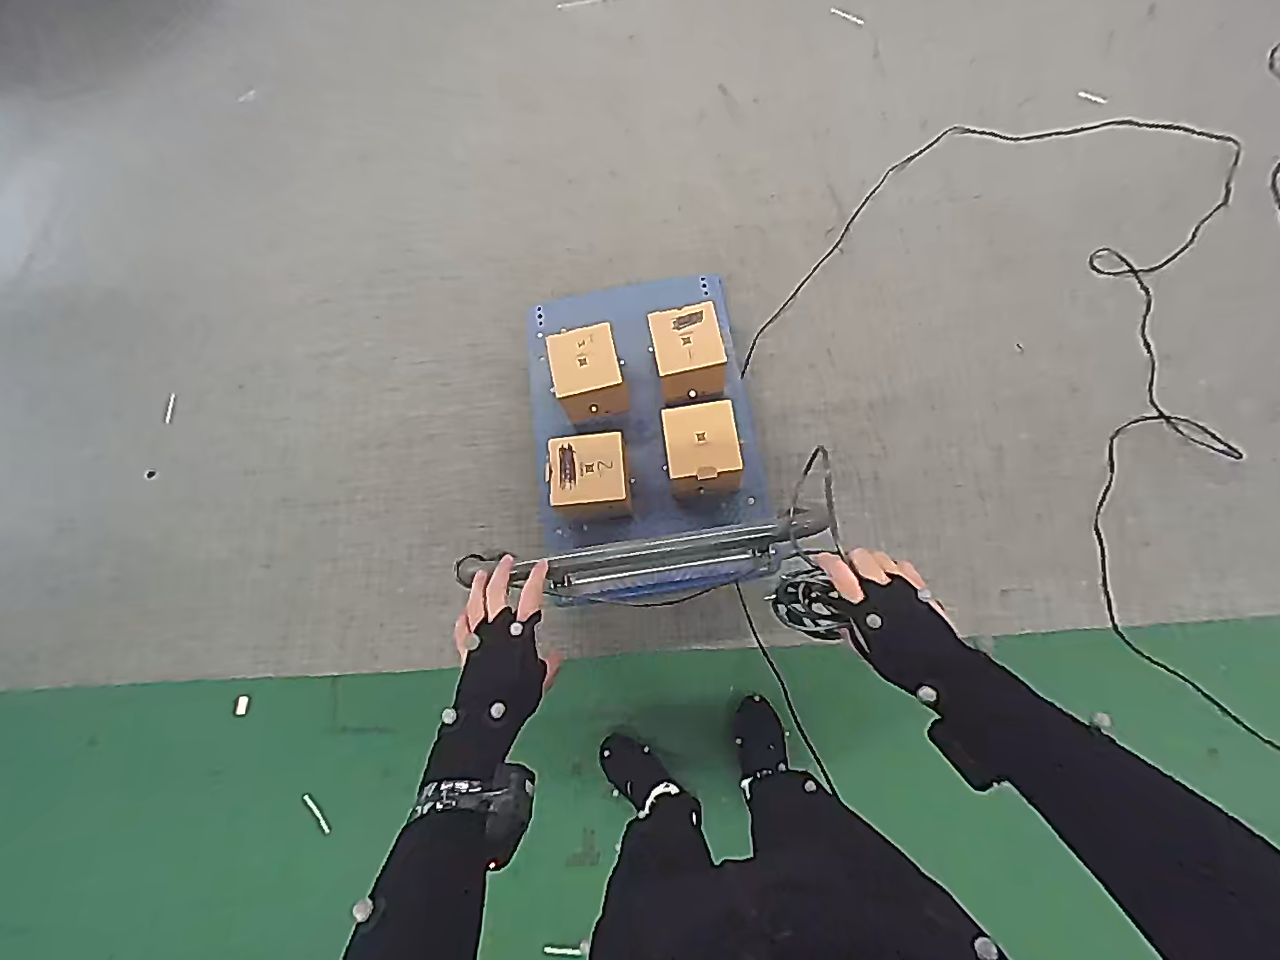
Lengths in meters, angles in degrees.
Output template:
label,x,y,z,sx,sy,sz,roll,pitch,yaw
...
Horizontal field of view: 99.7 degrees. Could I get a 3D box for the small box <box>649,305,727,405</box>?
label,x,y,z,sx,sy,sz,roll,pitch,yaw
small box,0.122,-0.315,1.384,0.168,0.176,0.179,-11,73,4

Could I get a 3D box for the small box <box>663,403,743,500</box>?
label,x,y,z,sx,sy,sz,roll,pitch,yaw
small box,0.149,-0.064,1.309,0.168,0.176,0.179,-8,73,4

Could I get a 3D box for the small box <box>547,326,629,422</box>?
label,x,y,z,sx,sy,sz,roll,pitch,yaw
small box,-0.130,-0.264,1.398,0.168,0.176,0.179,-13,72,2
